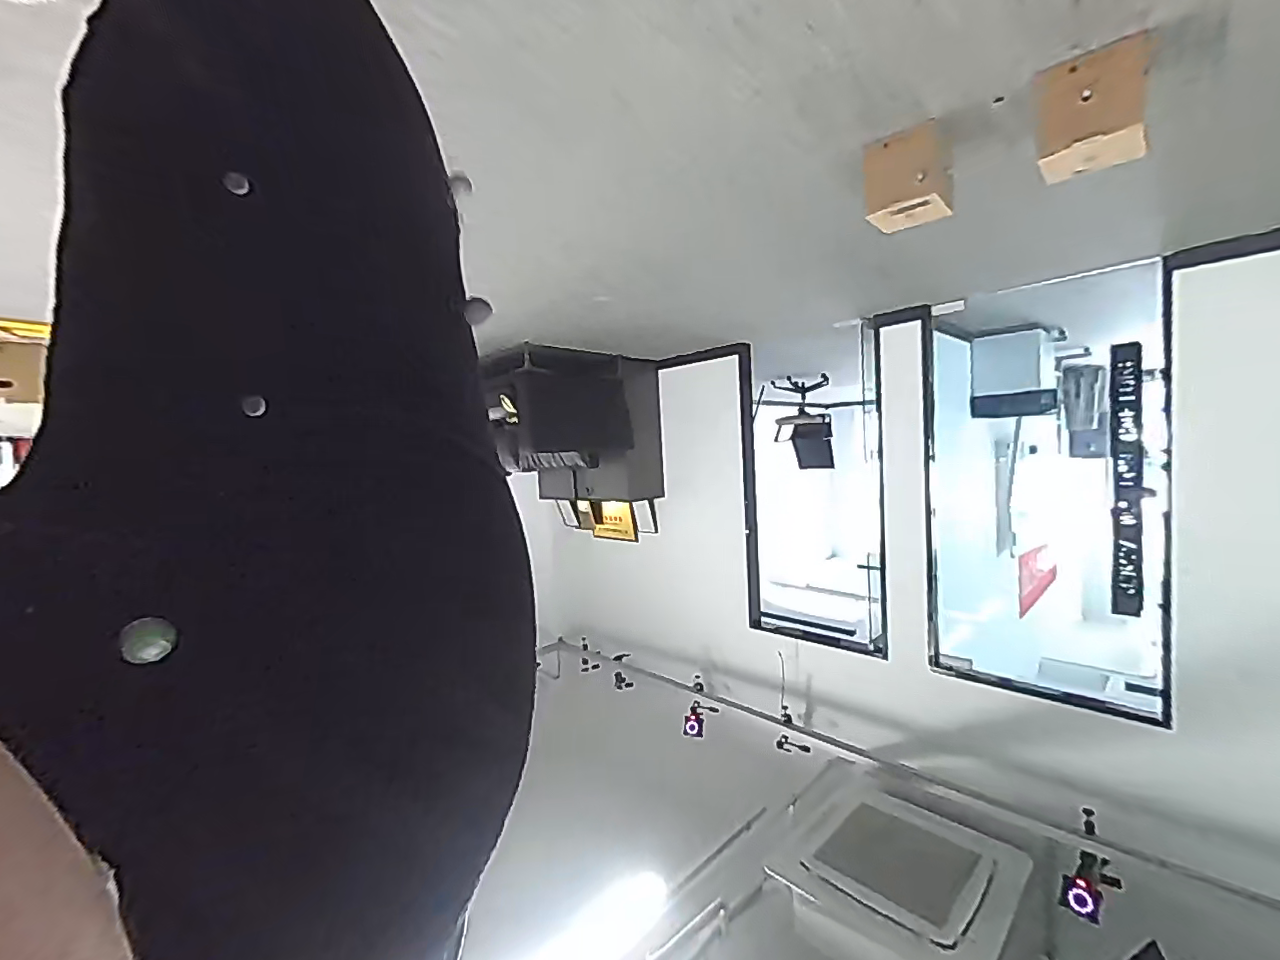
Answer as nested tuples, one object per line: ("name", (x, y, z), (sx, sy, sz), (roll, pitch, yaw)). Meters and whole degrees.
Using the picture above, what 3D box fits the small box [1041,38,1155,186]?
("small box", (0.921, -0.734, 1.088), (0.168, 0.176, 0.179), (0, -176, 43))
